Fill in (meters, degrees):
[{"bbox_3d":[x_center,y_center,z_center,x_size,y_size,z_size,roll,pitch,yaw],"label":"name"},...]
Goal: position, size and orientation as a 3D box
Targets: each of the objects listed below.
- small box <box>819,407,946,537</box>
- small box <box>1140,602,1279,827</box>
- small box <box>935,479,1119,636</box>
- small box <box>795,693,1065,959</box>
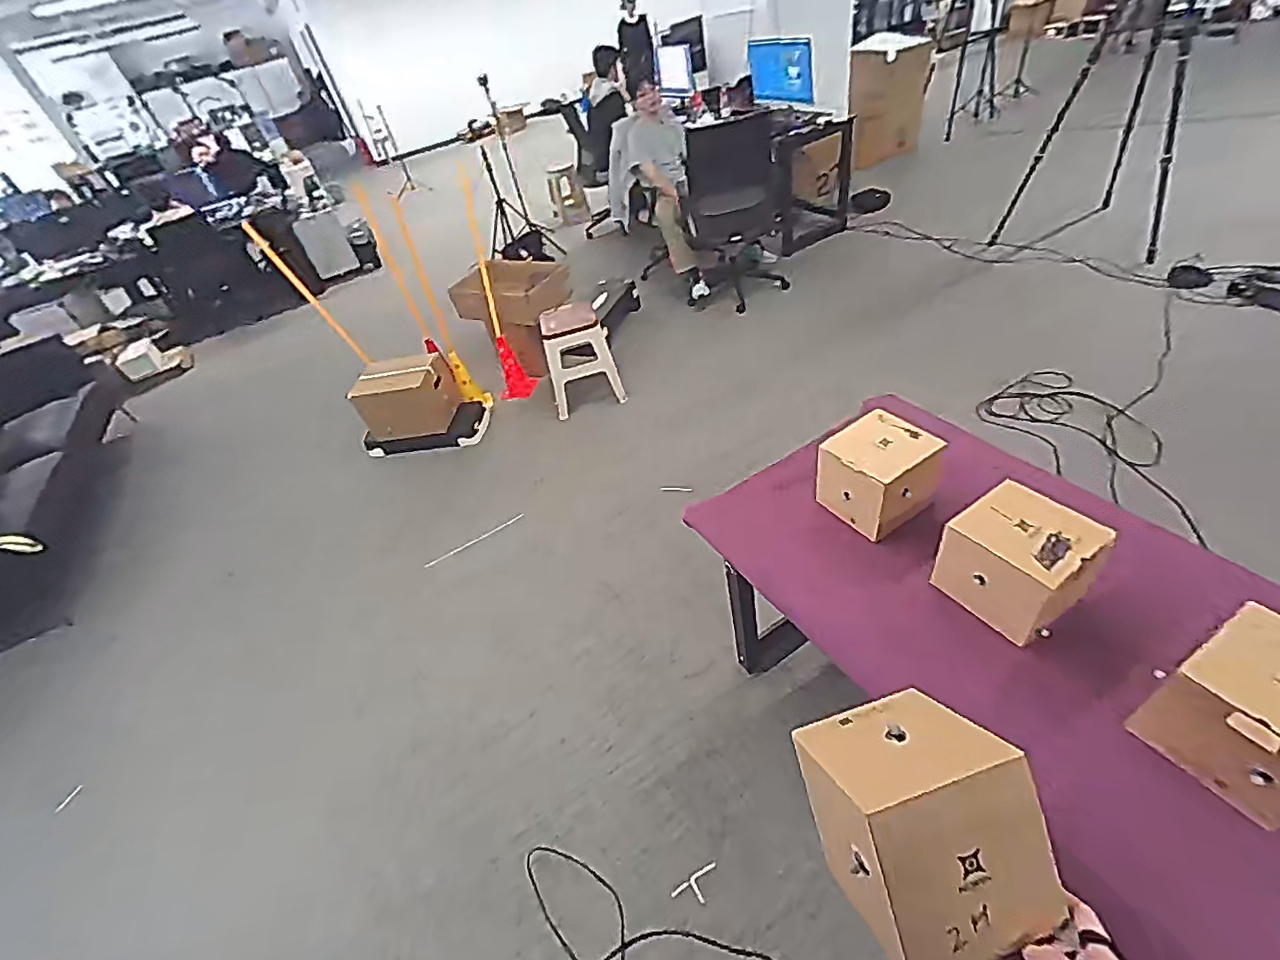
[{"bbox_3d":[0.493,-0.014,1.119,0.179,0.176,0.168,-30,45,-15],"label":"small box"},{"bbox_3d":[0.800,0.300,0.693,0.179,0.176,0.168,-29,44,-15],"label":"small box"},{"bbox_3d":[0.638,0.136,0.915,0.168,0.176,0.179,-29,43,-16],"label":"small box"},{"bbox_3d":[0.285,0.347,0.570,0.168,0.179,0.176,-15,2,-7],"label":"small box"}]
